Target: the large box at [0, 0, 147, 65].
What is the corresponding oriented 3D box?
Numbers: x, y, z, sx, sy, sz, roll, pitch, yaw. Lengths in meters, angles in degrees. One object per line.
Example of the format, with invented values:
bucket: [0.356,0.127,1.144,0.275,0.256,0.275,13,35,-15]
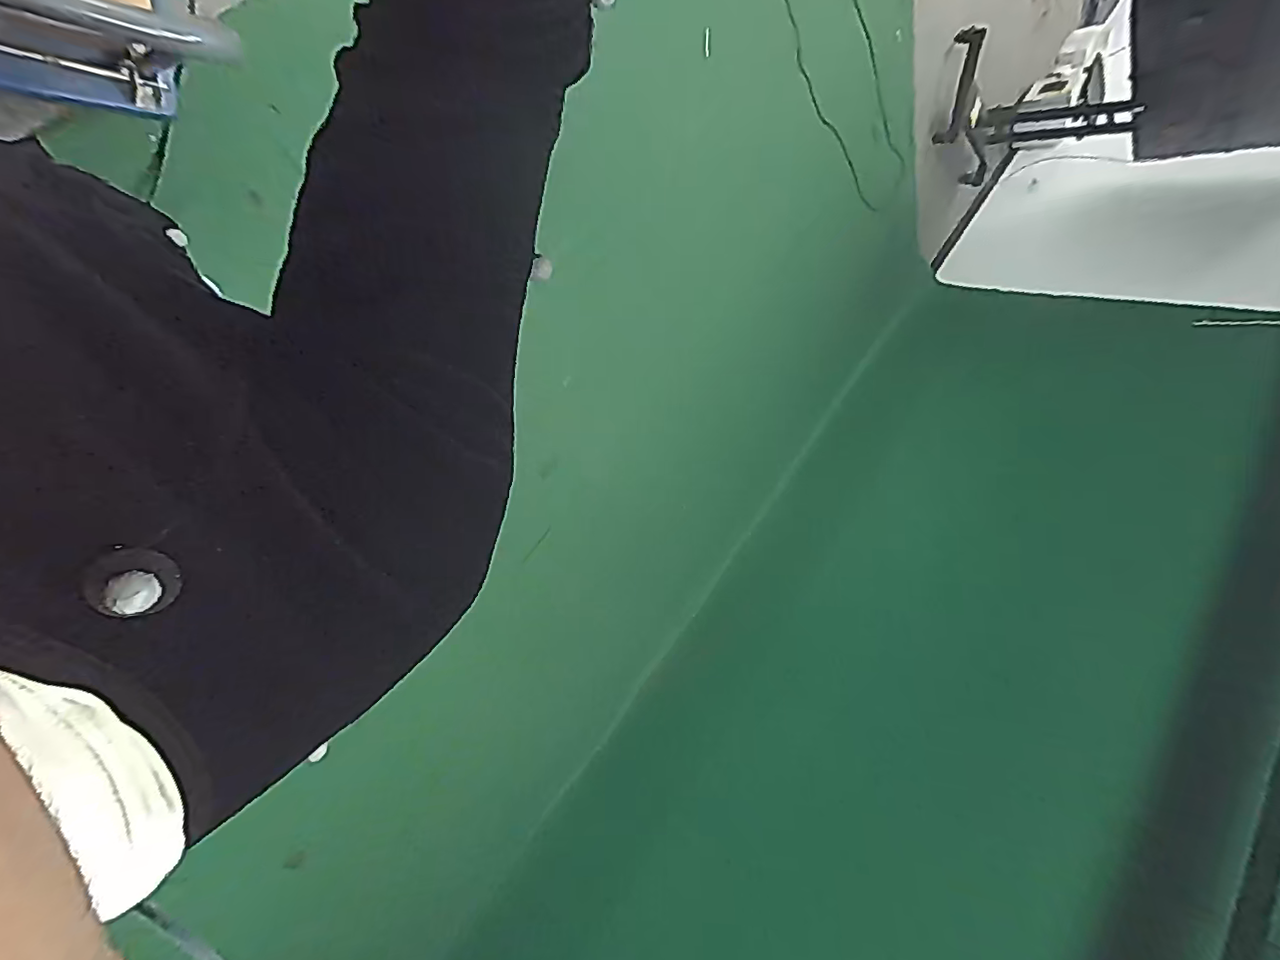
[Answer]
large box: [-0.918,-0.843,0.701,0.320,0.320,0.408,-19,120,-43]
